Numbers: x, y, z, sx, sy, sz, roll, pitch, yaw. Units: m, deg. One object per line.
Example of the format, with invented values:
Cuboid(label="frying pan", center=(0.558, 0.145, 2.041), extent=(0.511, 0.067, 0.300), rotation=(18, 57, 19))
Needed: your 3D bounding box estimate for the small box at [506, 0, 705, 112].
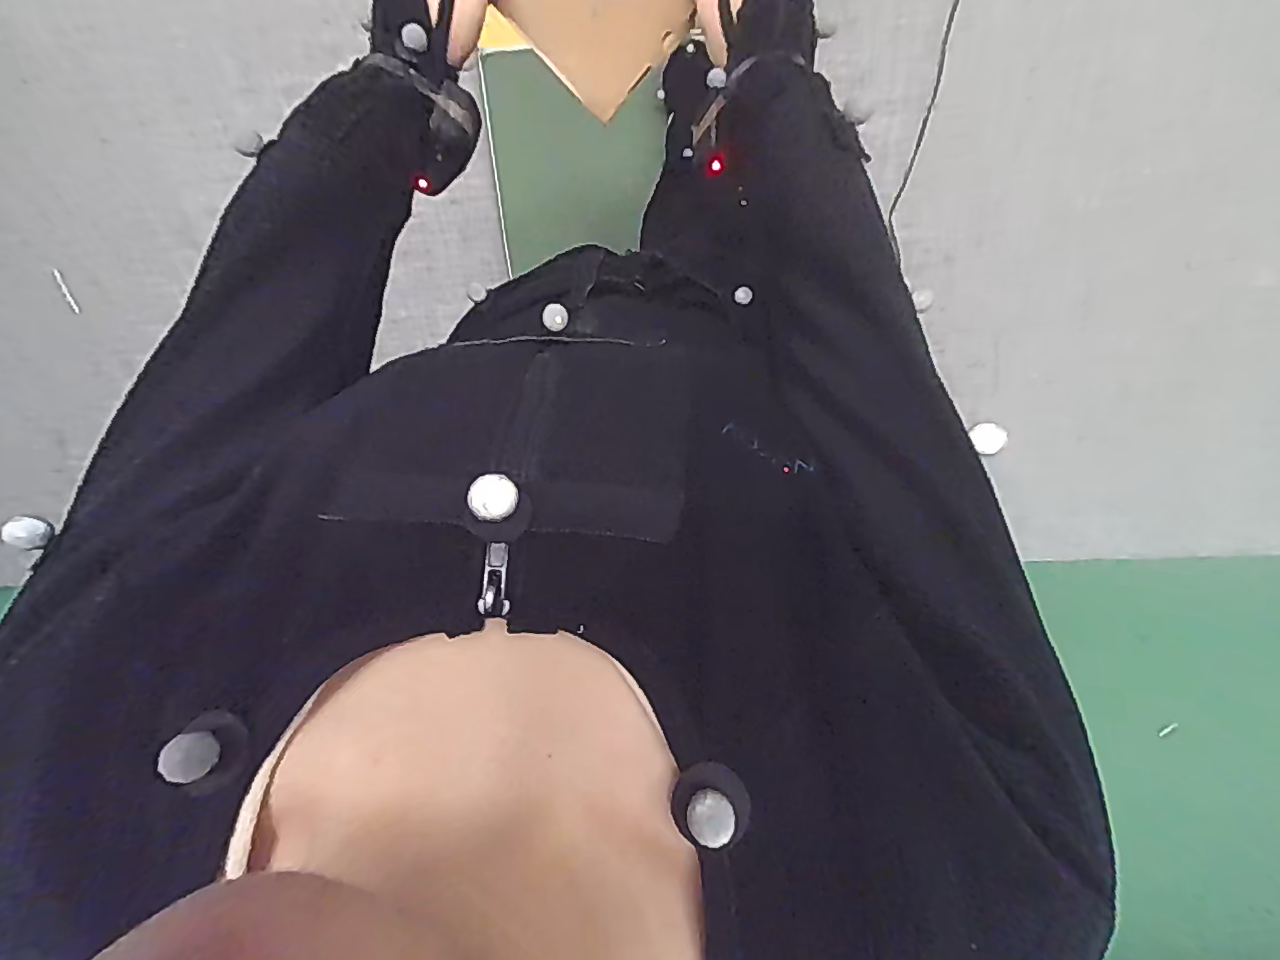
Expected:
Cuboid(label="small box", center=(-0.026, -0.463, 0.445), extent=(0.179, 0.176, 0.168), rotation=(35, 131, -29))
